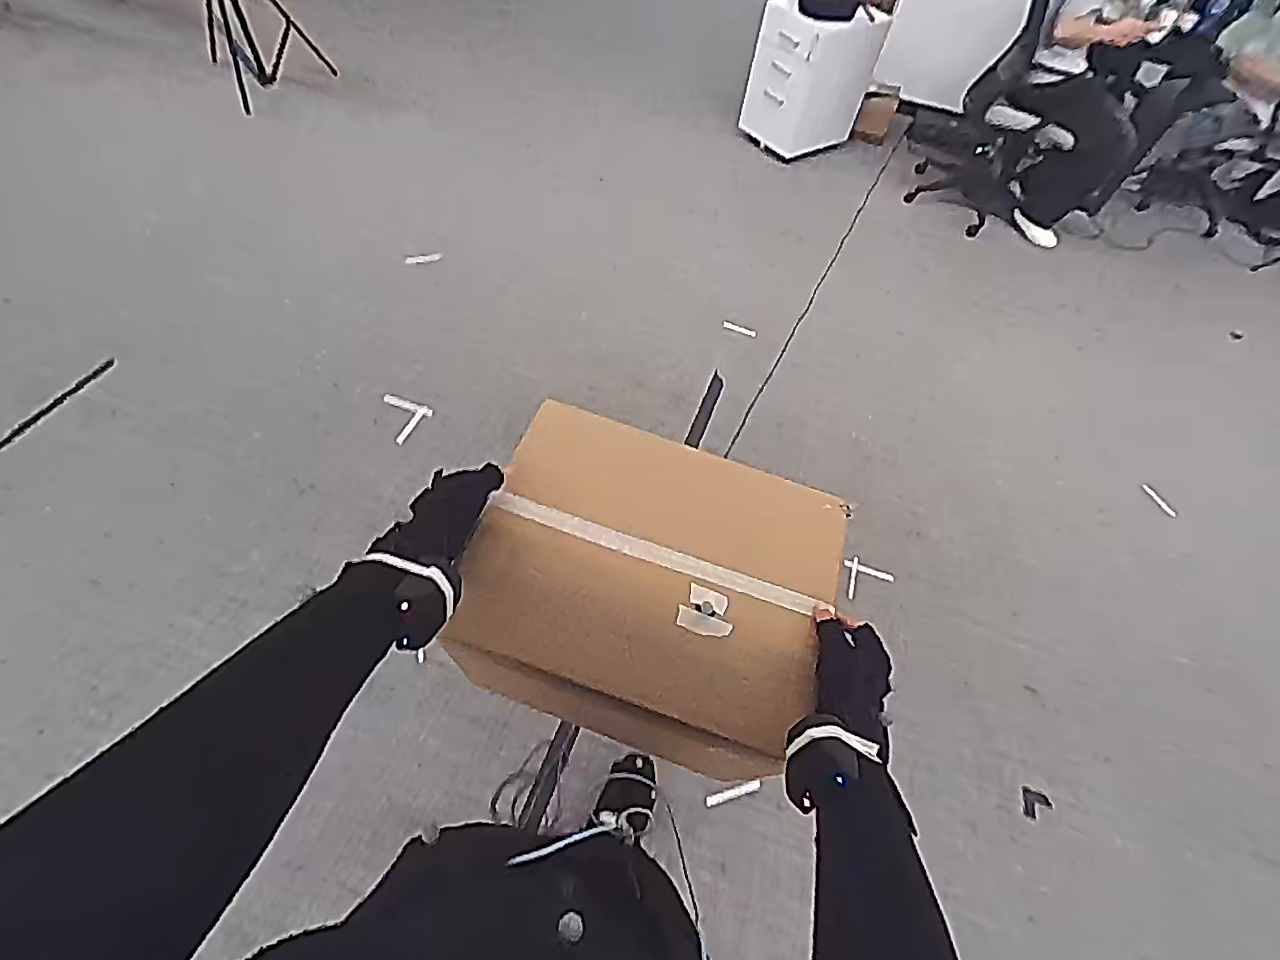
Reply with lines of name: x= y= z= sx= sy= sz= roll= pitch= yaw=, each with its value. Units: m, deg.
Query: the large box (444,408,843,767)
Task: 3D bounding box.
large box: x=0.009 y=0.161 z=0.747 sx=0.408 sy=0.320 sz=0.320 roll=19 pitch=59 yaw=4
